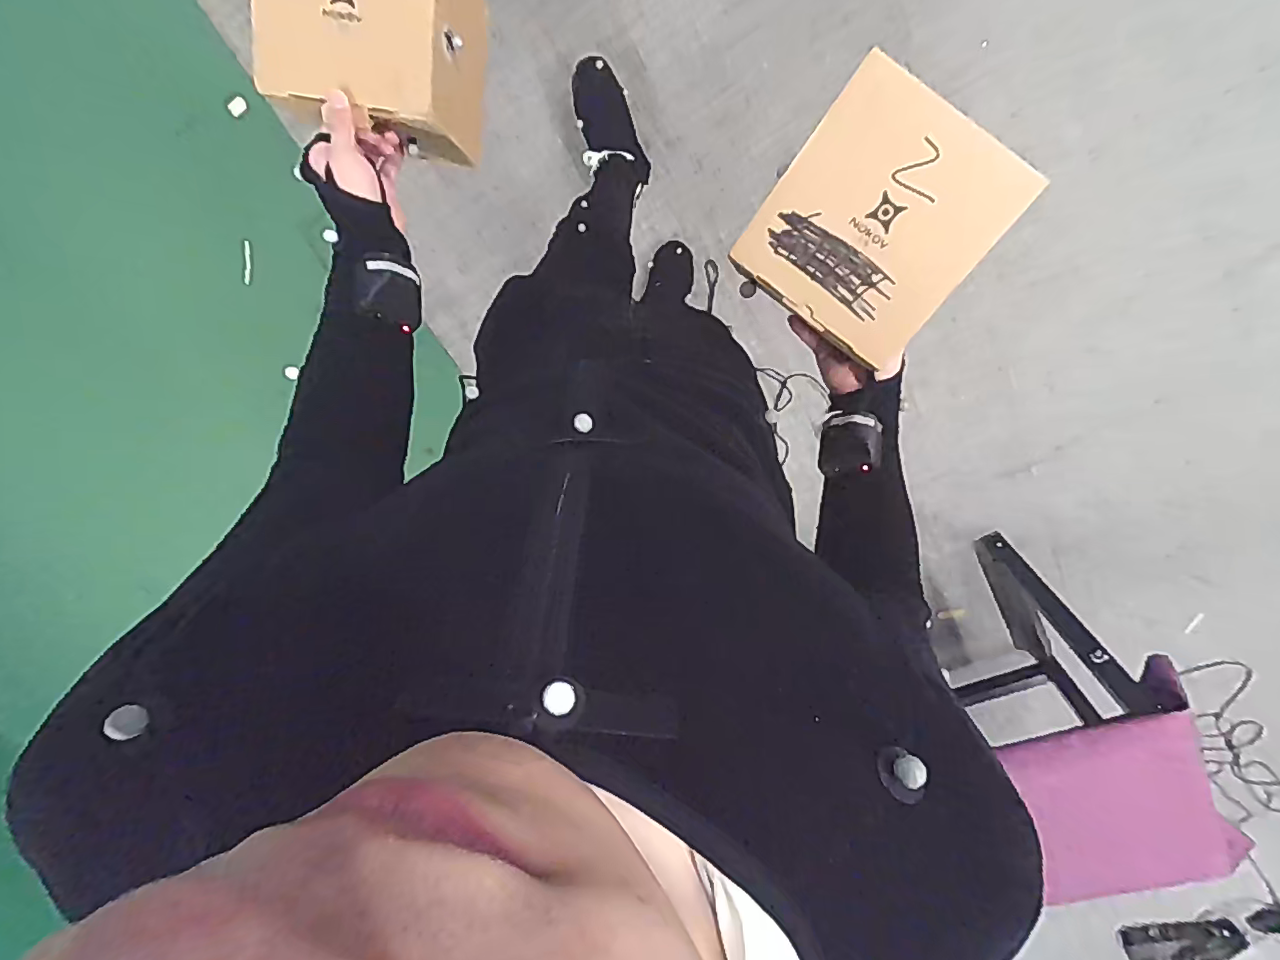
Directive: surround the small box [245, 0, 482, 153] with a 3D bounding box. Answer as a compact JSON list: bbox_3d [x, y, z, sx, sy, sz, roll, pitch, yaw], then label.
[{"bbox_3d":[-0.271,-0.469,0.563,0.168,0.176,0.179,8,105,-3],"label":"small box"}]
